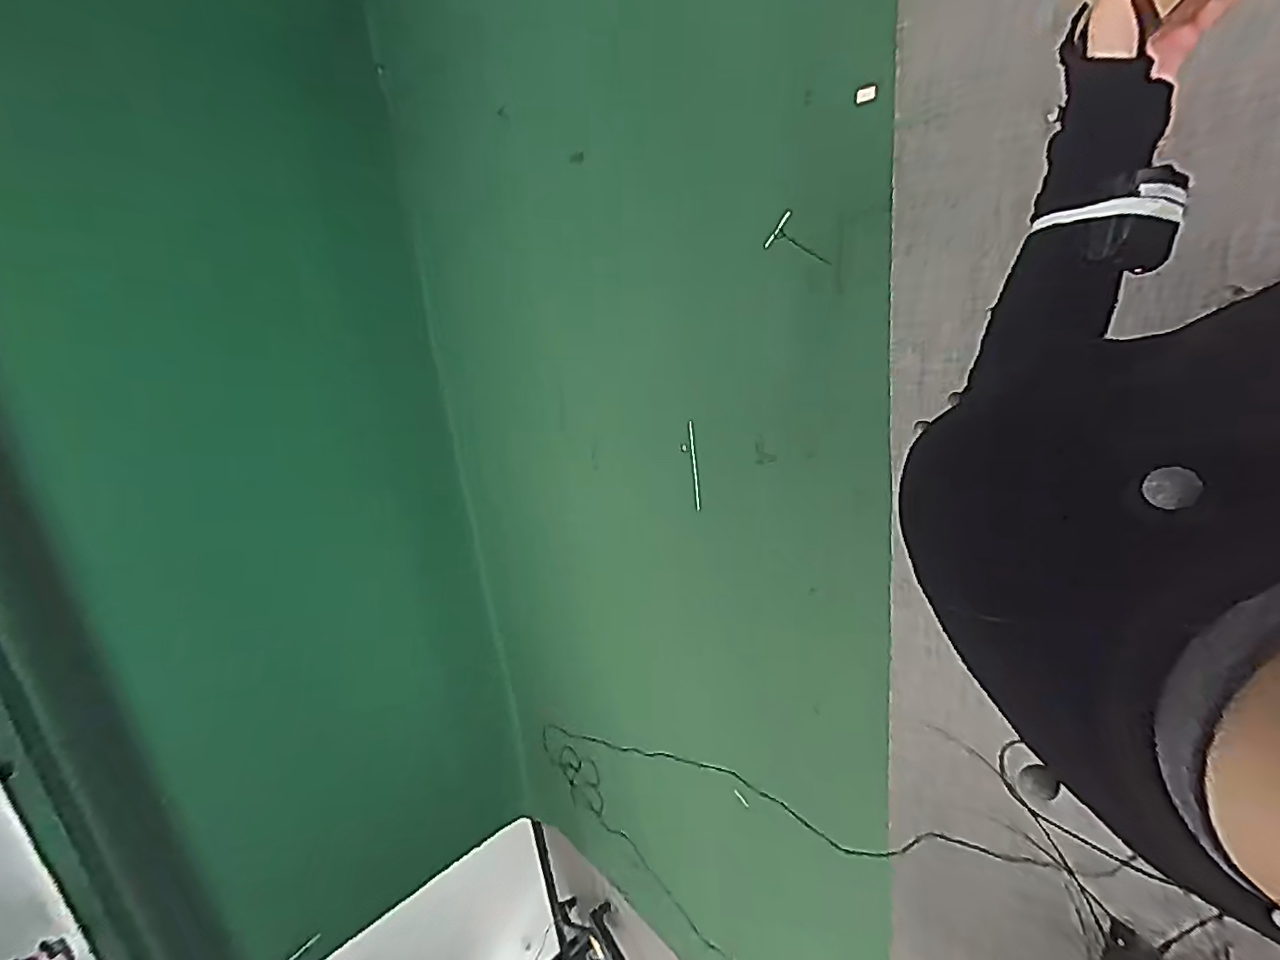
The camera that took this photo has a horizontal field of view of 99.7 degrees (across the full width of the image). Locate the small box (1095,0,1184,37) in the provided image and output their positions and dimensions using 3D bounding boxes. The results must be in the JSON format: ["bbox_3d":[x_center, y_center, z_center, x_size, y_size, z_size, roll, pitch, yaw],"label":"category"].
[{"bbox_3d":[0.388,-0.447,0.329,0.179,0.176,0.168,59,-176,5],"label":"small box"}]
